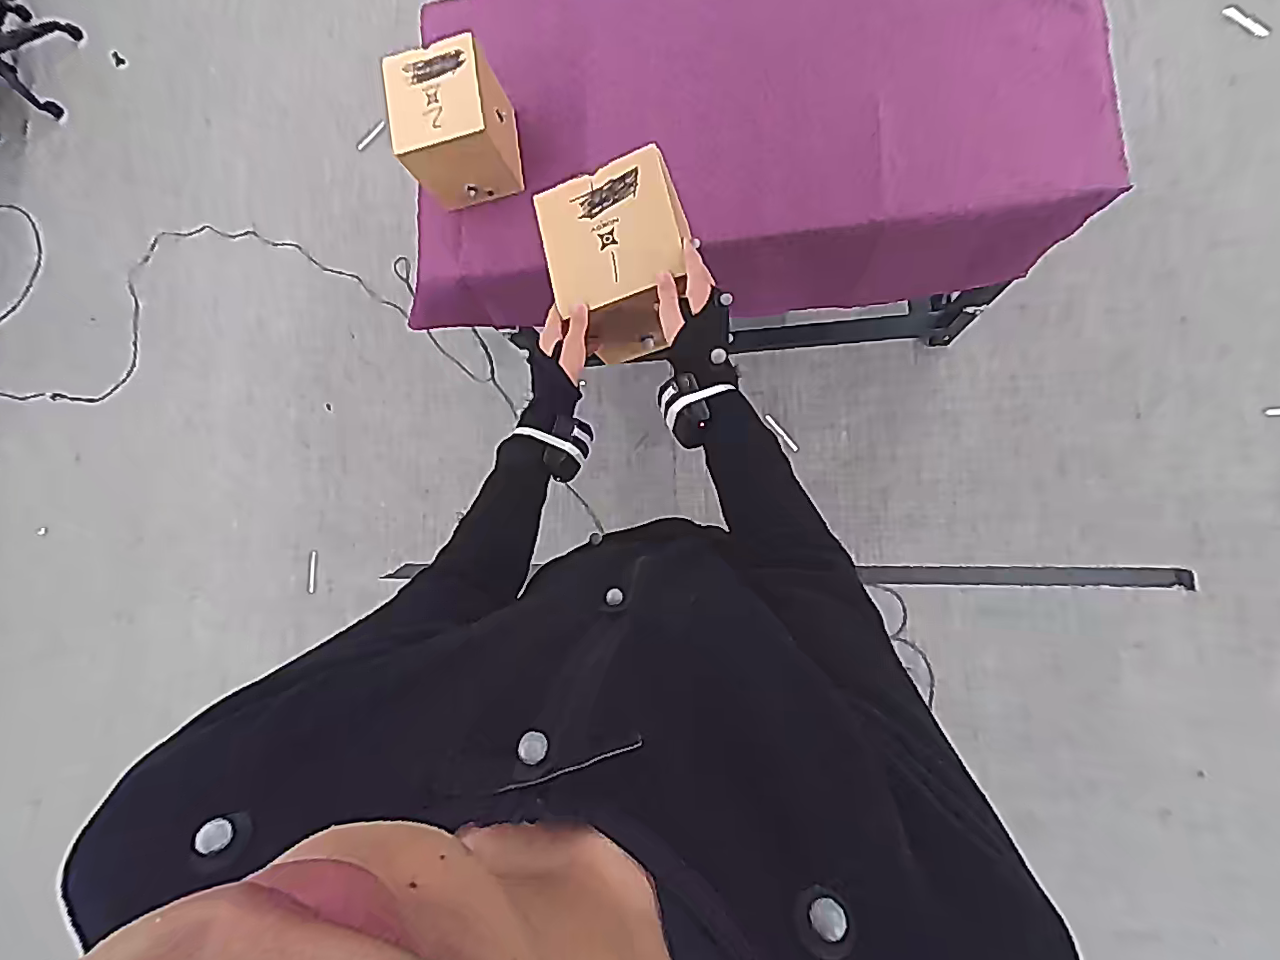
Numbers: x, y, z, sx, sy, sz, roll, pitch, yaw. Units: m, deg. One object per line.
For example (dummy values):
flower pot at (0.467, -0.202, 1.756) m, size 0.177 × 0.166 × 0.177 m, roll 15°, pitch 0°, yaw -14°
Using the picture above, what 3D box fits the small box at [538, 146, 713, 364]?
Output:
small box at (-0.012, -0.279, 0.710) m, size 0.168 × 0.176 × 0.179 m, roll -16°, pitch 78°, yaw 16°
